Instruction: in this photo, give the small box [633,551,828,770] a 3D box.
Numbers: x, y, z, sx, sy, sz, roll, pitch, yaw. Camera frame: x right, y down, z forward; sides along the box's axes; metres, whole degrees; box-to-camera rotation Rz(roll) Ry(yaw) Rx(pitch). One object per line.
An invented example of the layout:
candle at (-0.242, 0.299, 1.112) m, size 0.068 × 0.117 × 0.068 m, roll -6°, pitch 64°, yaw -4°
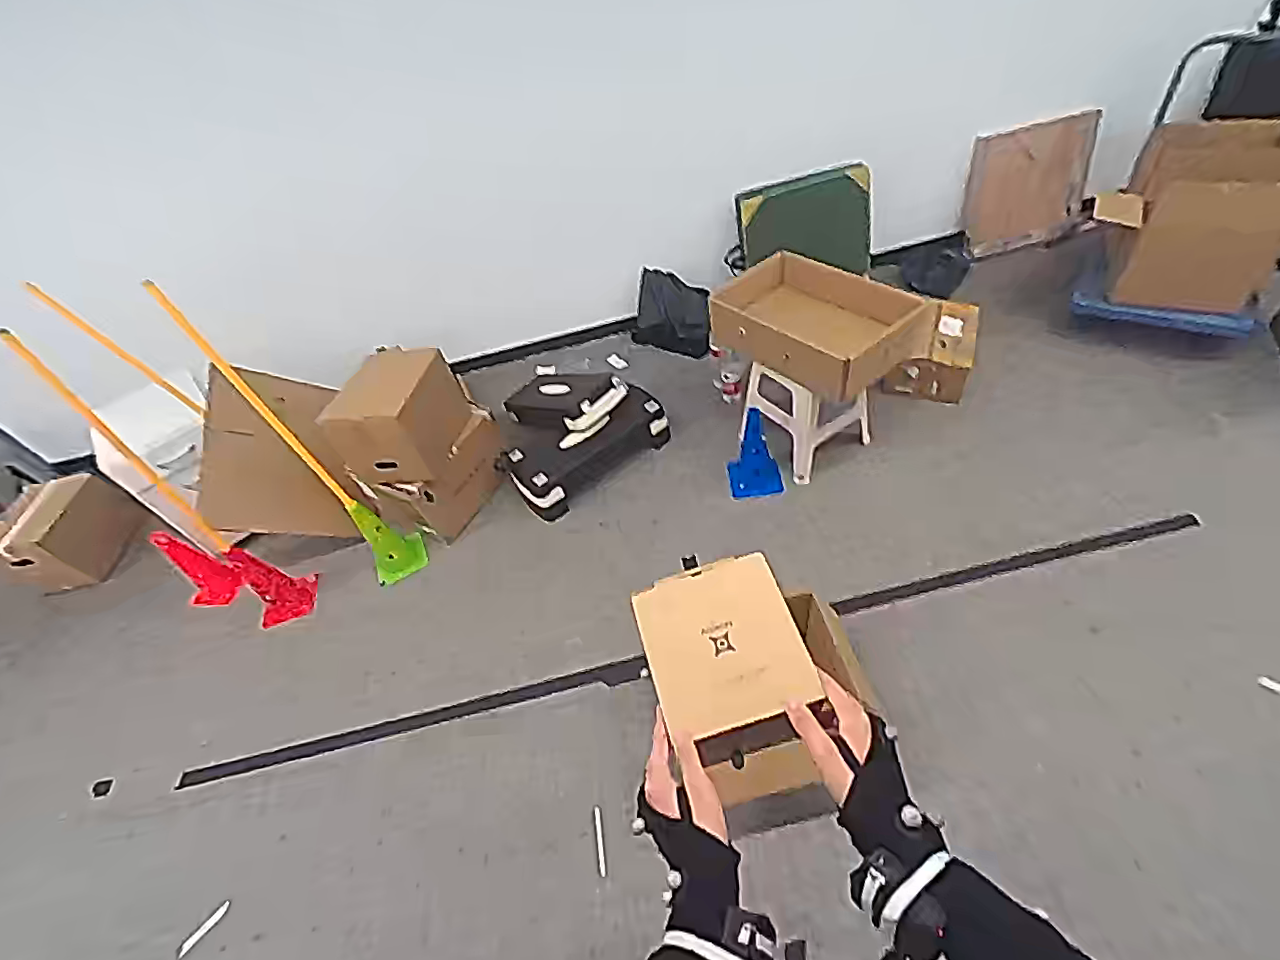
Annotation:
small box at (0.099, 0.217, 0.642) m, size 0.168 × 0.176 × 0.179 m, roll -17°, pitch 52°, yaw -2°
